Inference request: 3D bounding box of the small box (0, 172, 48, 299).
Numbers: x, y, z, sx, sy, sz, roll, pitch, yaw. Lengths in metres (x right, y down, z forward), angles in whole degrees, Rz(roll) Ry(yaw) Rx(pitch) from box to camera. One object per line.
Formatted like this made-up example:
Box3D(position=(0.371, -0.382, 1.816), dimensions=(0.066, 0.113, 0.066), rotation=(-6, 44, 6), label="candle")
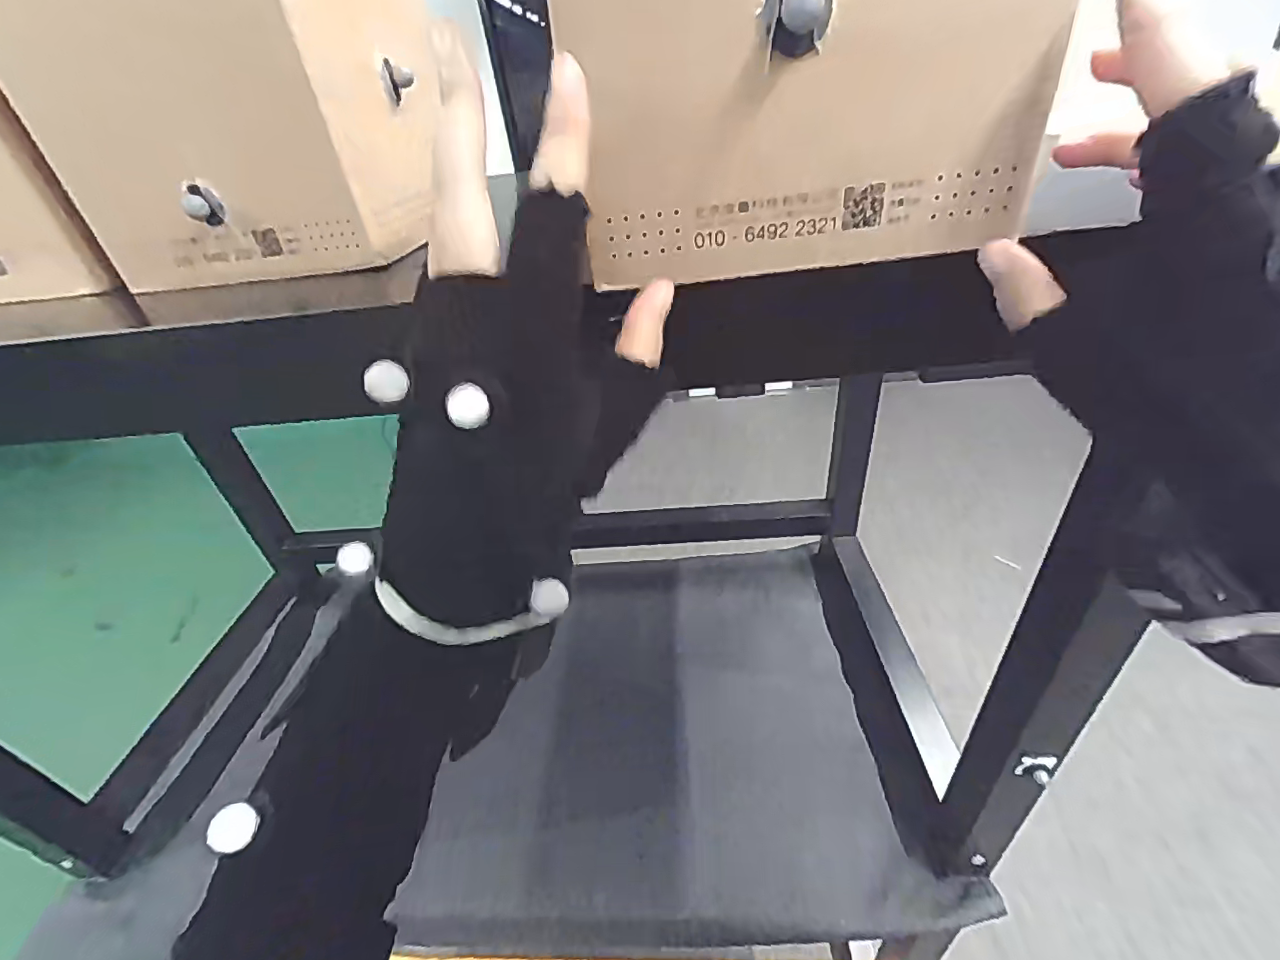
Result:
Box3D(position=(-0.618, -0.202, 0.398), dimensions=(0.168, 0.176, 0.179), rotation=(-3, 35, 7), label="small box")
